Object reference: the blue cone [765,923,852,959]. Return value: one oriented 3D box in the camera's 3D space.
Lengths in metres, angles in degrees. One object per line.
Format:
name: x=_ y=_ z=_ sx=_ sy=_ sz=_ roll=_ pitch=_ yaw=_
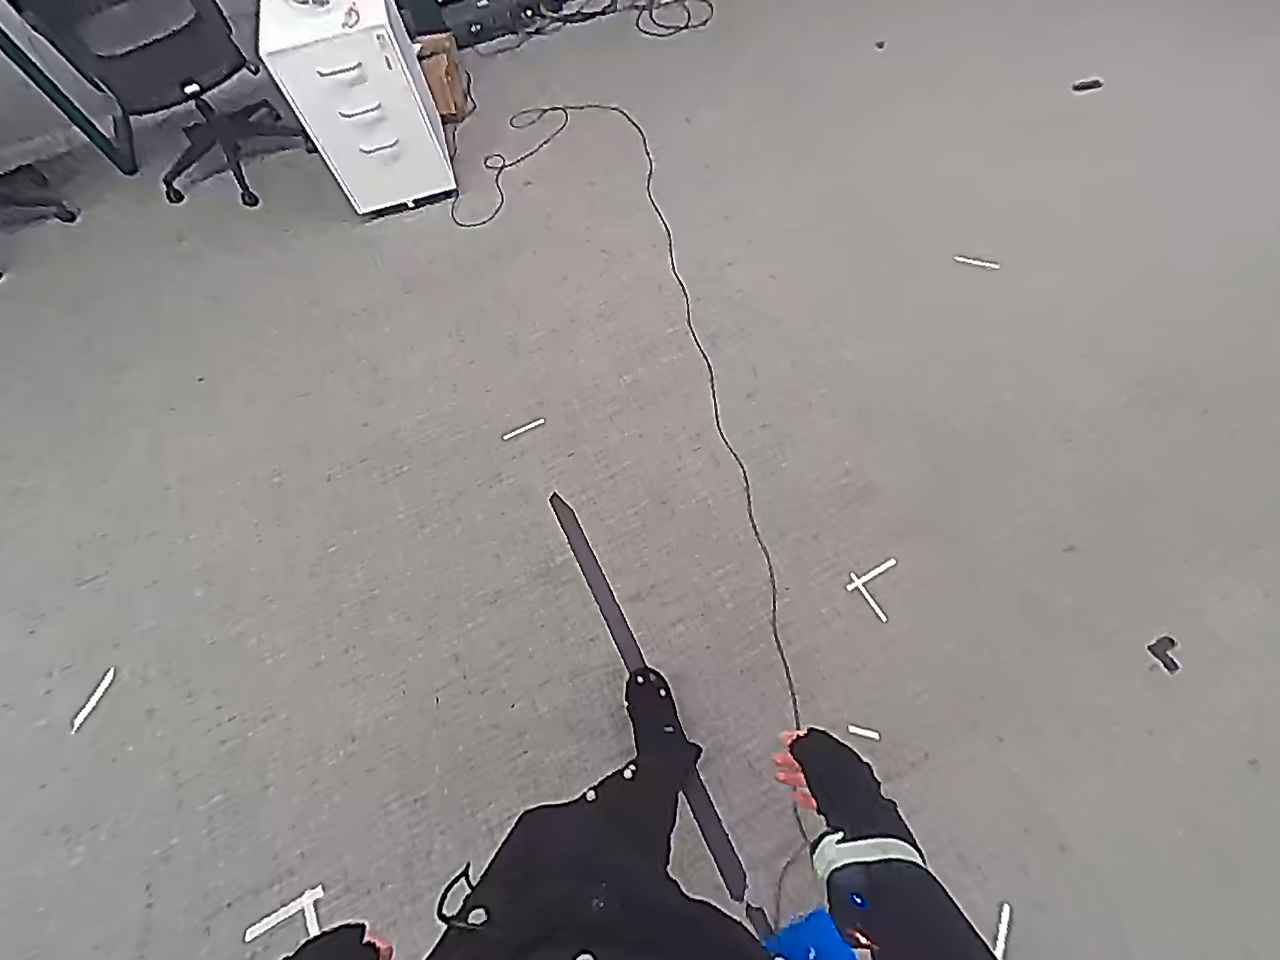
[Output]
blue cone: x=0.326 y=0.904 z=0.879 sx=0.193 sy=0.380 sz=0.192 roll=-27 pitch=64 yaw=-9
